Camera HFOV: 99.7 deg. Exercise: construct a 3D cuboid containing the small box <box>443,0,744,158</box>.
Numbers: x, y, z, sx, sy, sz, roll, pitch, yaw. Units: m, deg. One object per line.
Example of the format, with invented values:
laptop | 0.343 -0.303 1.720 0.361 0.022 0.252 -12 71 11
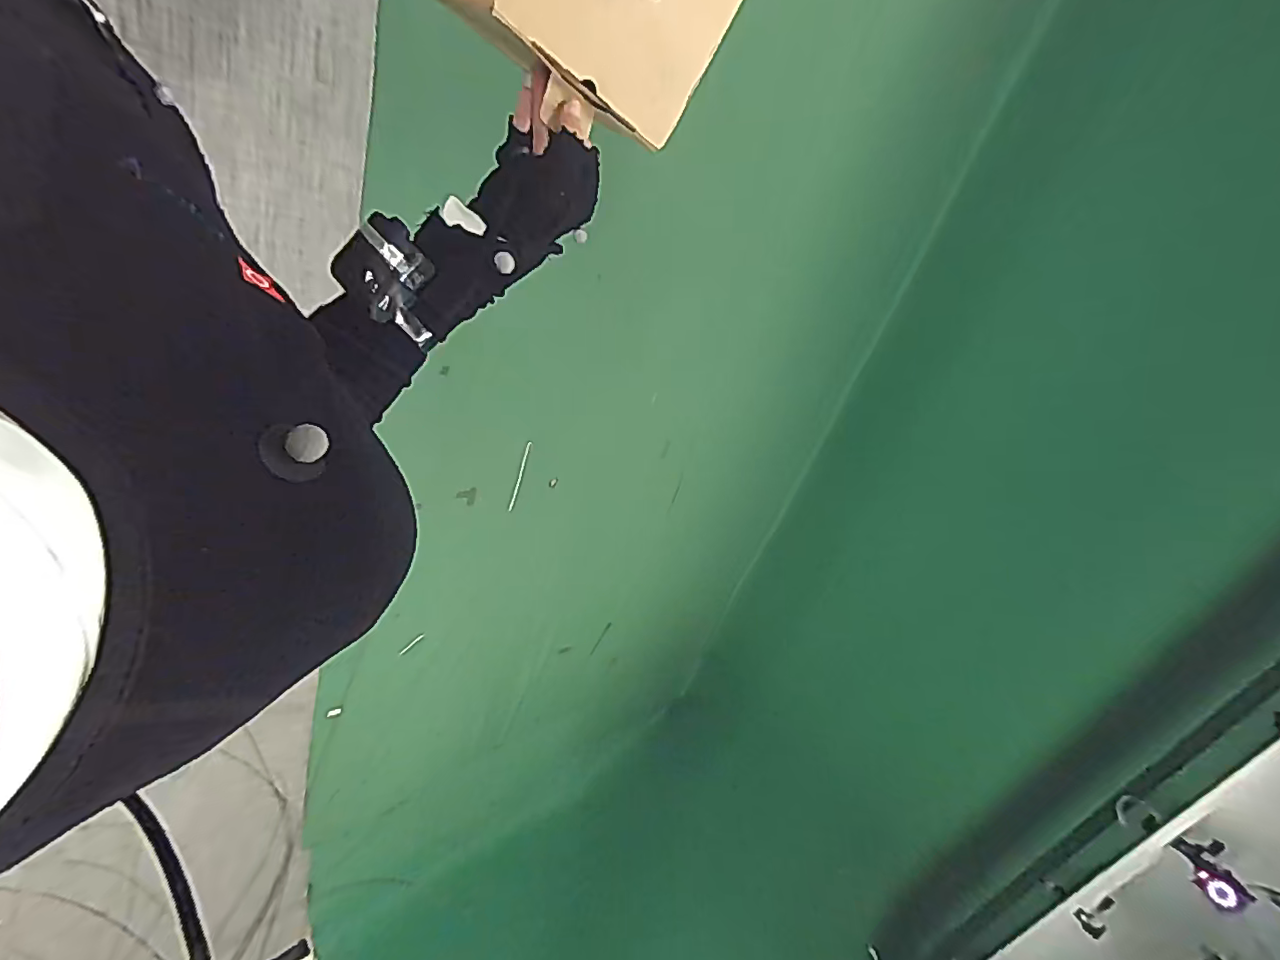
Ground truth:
small box | -0.039 -0.399 0.415 0.168 0.176 0.179 8 124 -49
